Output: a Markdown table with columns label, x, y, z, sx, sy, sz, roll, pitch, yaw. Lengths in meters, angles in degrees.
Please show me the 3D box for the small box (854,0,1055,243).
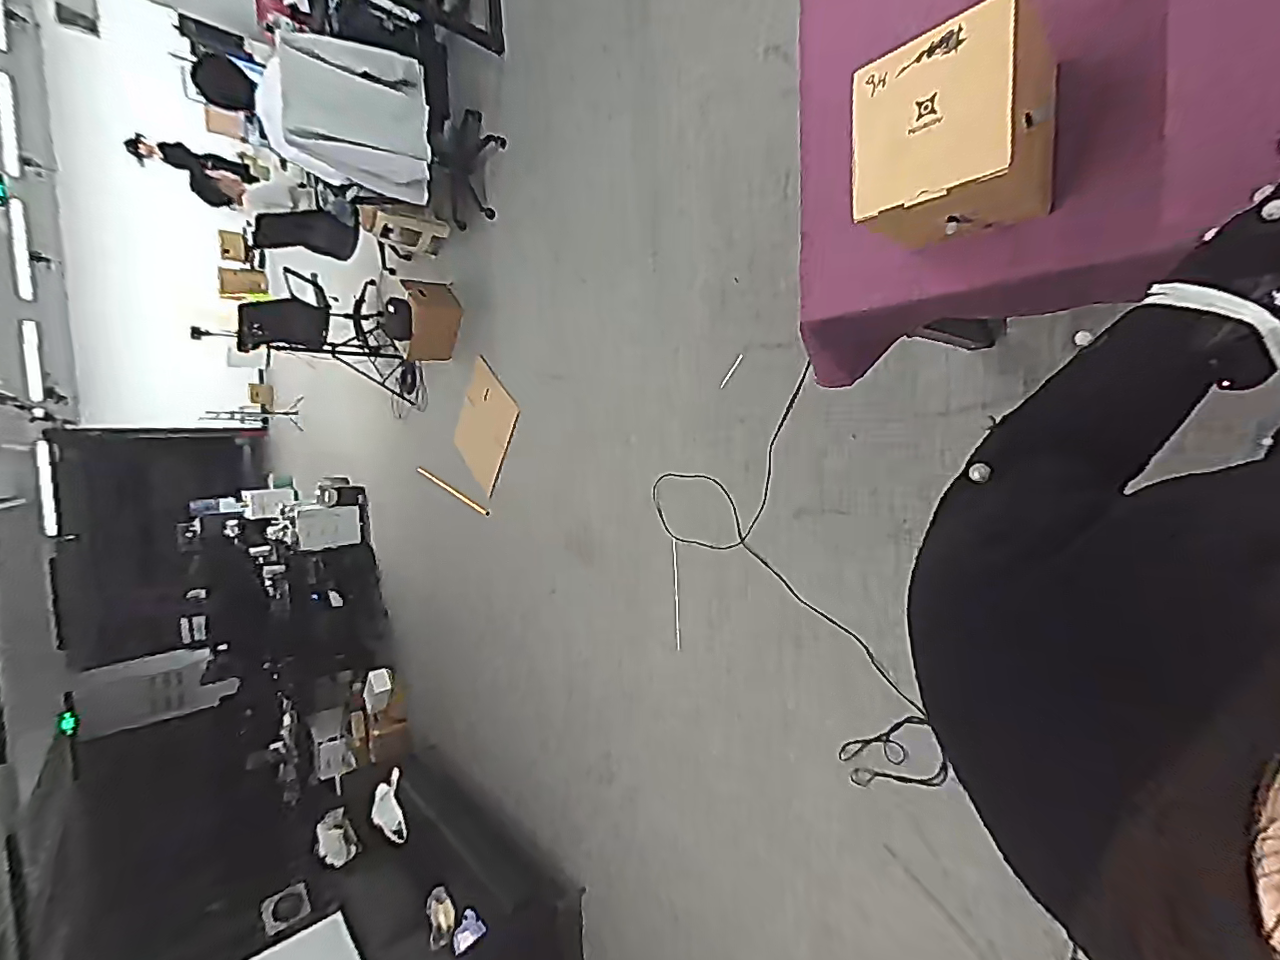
| label | x | y | z | sx | sy | sz | roll | pitch | yaw |
| --- | --- | --- | --- | --- | --- | --- | --- | --- | --- |
| small box | 0.377 | -0.401 | 0.650 | 0.168 | 0.176 | 0.179 | 4 | 97 | 48 |
